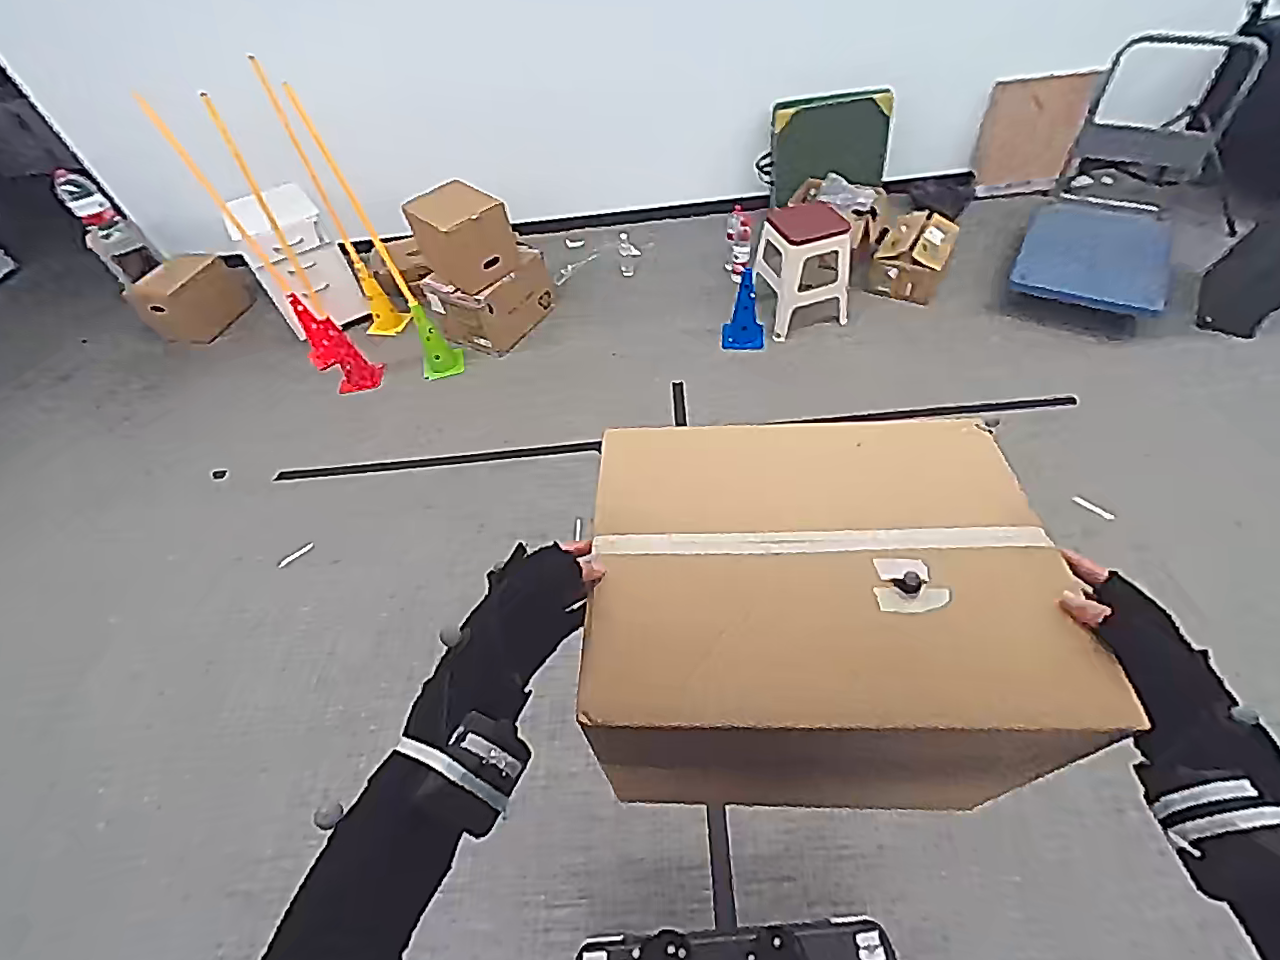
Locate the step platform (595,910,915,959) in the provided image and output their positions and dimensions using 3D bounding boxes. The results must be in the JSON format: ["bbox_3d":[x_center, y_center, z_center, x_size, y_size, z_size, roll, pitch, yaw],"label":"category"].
[{"bbox_3d":[0.239,1.096,1.115,0.684,0.204,0.286,-6,51,1],"label":"step platform"}]

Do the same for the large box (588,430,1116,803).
[{"bbox_3d":[0.166,0.163,0.616,0.408,0.320,0.320,-1,50,4],"label":"large box"}]
